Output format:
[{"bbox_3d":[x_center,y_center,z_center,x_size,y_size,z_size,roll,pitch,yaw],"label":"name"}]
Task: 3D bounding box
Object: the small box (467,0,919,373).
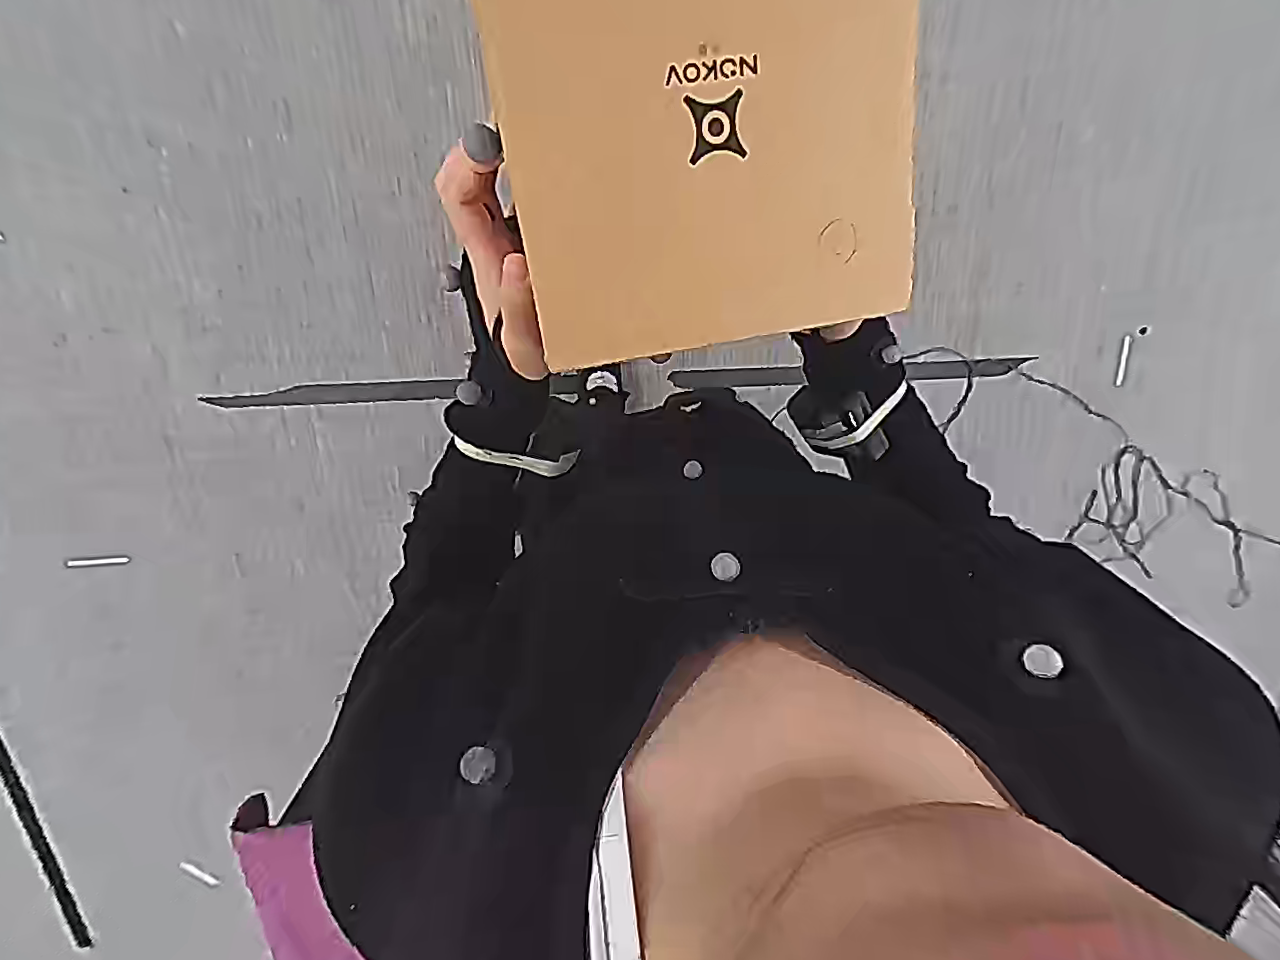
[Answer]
[{"bbox_3d":[0.017,-0.166,0.281,0.168,0.176,0.179,-11,110,-4],"label":"small box"}]
